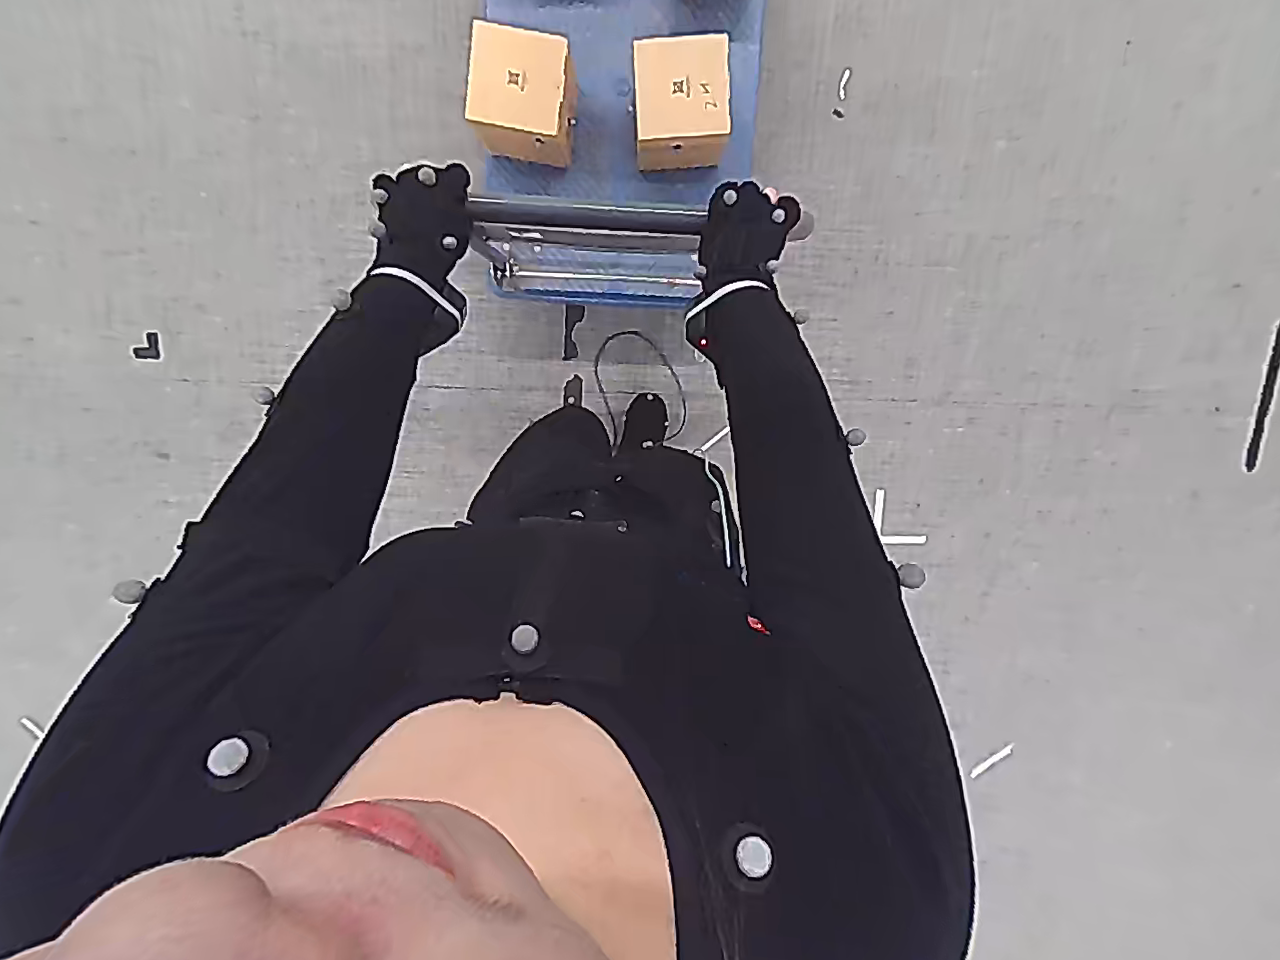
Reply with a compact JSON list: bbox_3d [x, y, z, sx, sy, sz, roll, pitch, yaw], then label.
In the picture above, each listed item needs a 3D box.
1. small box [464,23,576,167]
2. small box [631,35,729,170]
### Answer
[{"bbox_3d":[-0.229,-0.743,1.063,0.179,0.176,0.168,9,102,-3],"label":"small box"},{"bbox_3d":[0.076,-0.729,1.063,0.179,0.176,0.168,-3,103,1],"label":"small box"}]
